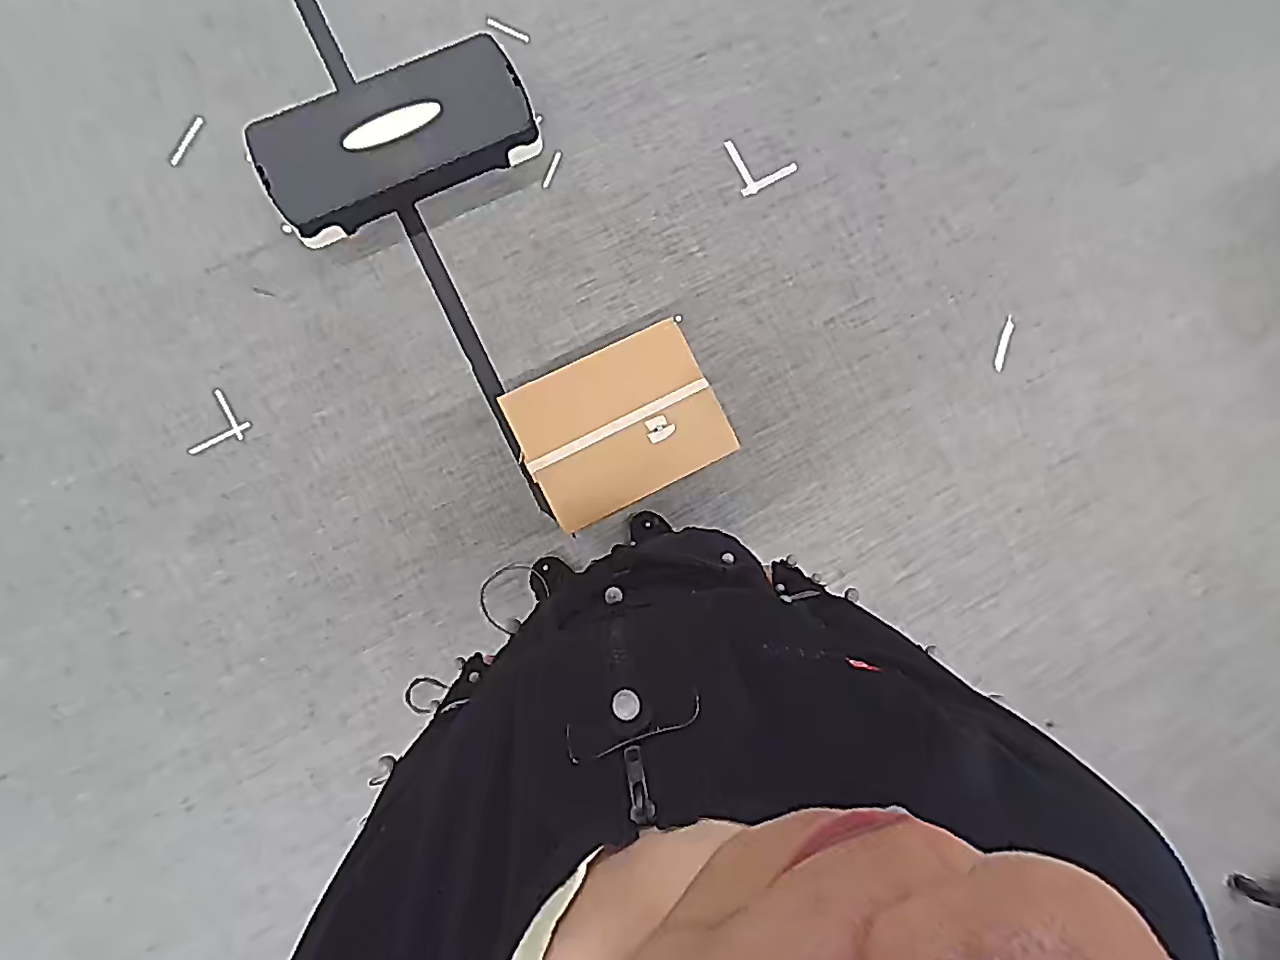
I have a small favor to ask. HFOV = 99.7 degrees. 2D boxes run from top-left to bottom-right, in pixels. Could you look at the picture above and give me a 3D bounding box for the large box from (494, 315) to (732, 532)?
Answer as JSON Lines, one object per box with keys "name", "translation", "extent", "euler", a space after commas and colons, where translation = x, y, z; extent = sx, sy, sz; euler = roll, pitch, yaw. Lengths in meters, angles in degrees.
{"name": "large box", "translation": [-0.065, -0.106, 1.239], "extent": [0.408, 0.320, 0.320], "euler": [-27, 90, -7]}
